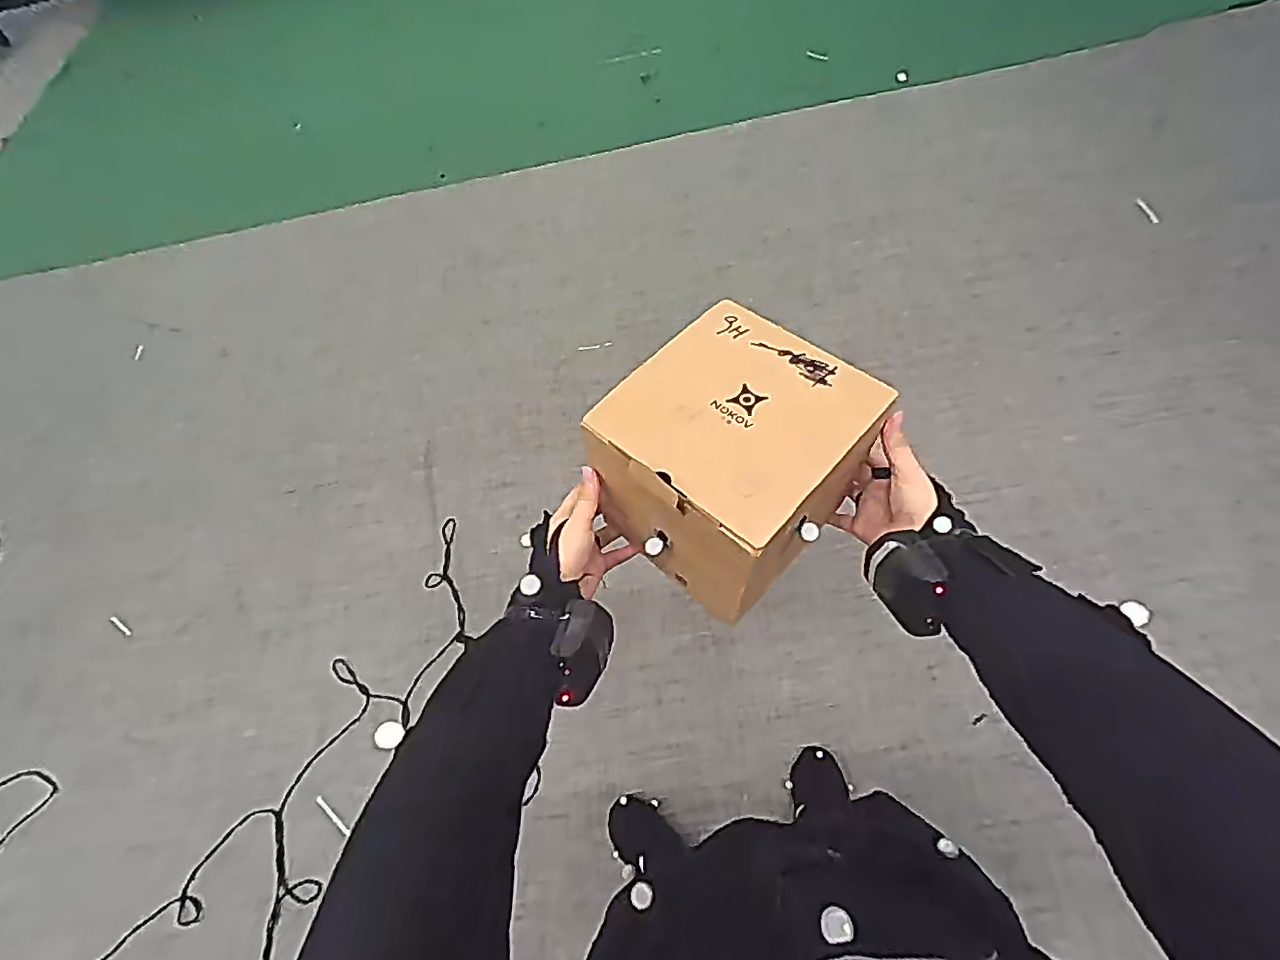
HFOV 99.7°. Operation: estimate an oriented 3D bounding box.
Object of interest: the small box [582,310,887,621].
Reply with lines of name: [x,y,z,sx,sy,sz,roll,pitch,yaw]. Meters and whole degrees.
small box: [0.077,-0.006,0.477,0.168,0.176,0.179,38,68,23]
